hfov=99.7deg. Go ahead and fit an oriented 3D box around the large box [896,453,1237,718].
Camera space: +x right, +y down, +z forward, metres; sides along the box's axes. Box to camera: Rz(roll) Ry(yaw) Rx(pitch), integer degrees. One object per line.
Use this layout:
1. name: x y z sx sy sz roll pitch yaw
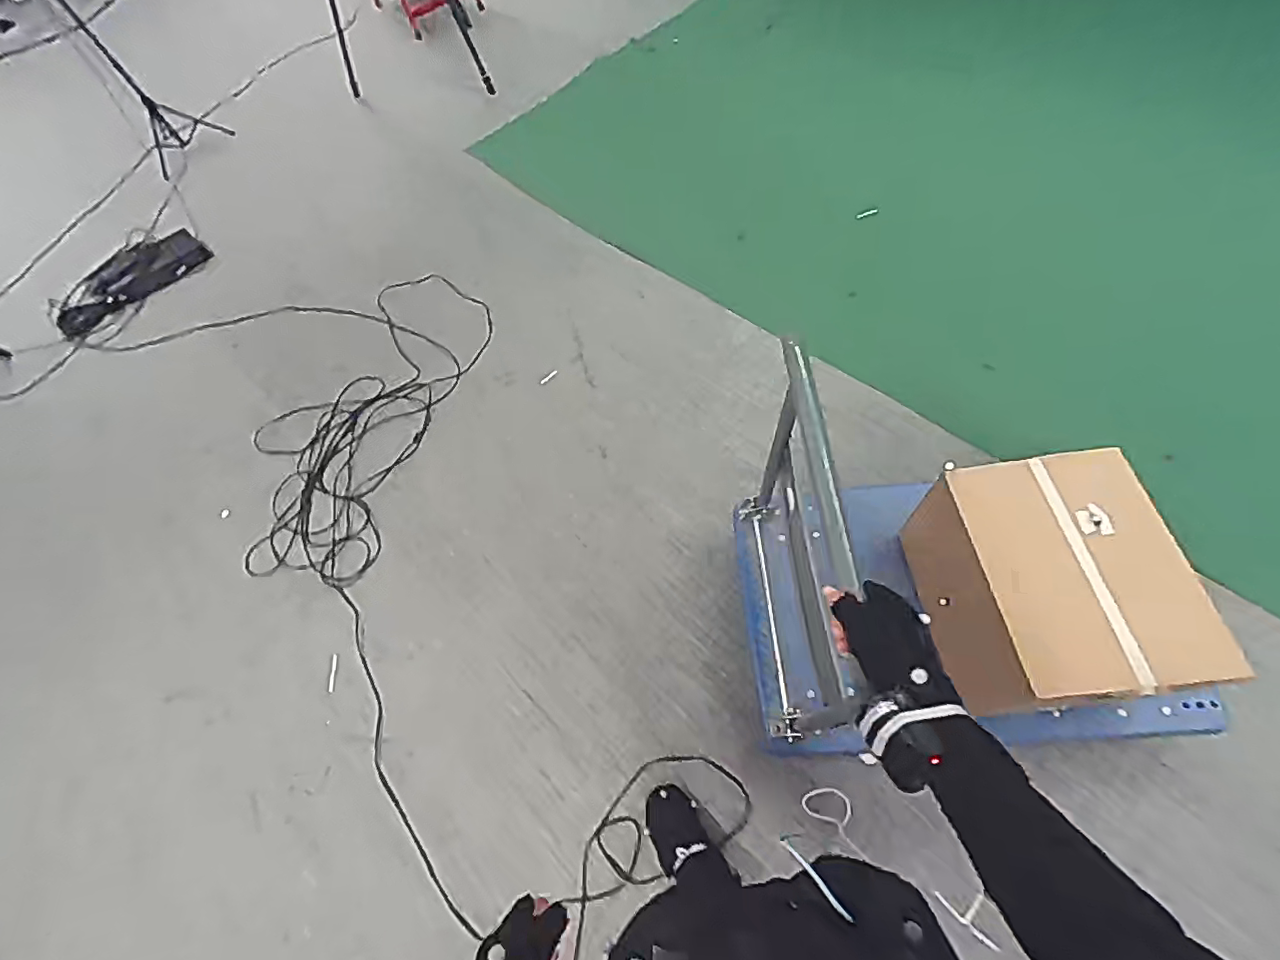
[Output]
1. large box: 0.747 0.213 1.043 0.320 0.320 0.408 -7 59 4
